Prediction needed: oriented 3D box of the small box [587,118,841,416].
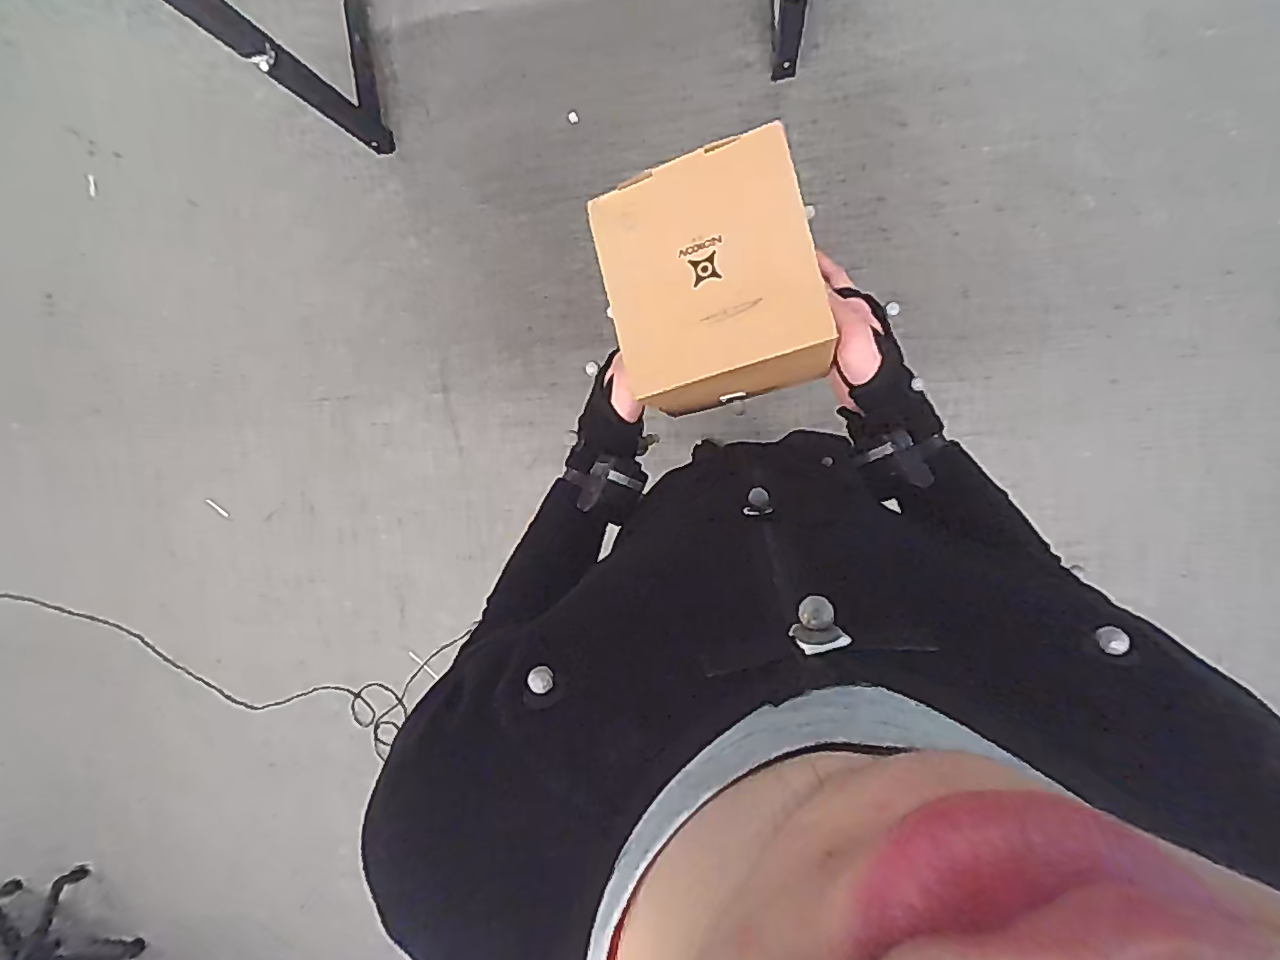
[{"bbox_3d":[0.074,-0.171,0.499,0.168,0.176,0.179,-17,86,17],"label":"small box"}]
